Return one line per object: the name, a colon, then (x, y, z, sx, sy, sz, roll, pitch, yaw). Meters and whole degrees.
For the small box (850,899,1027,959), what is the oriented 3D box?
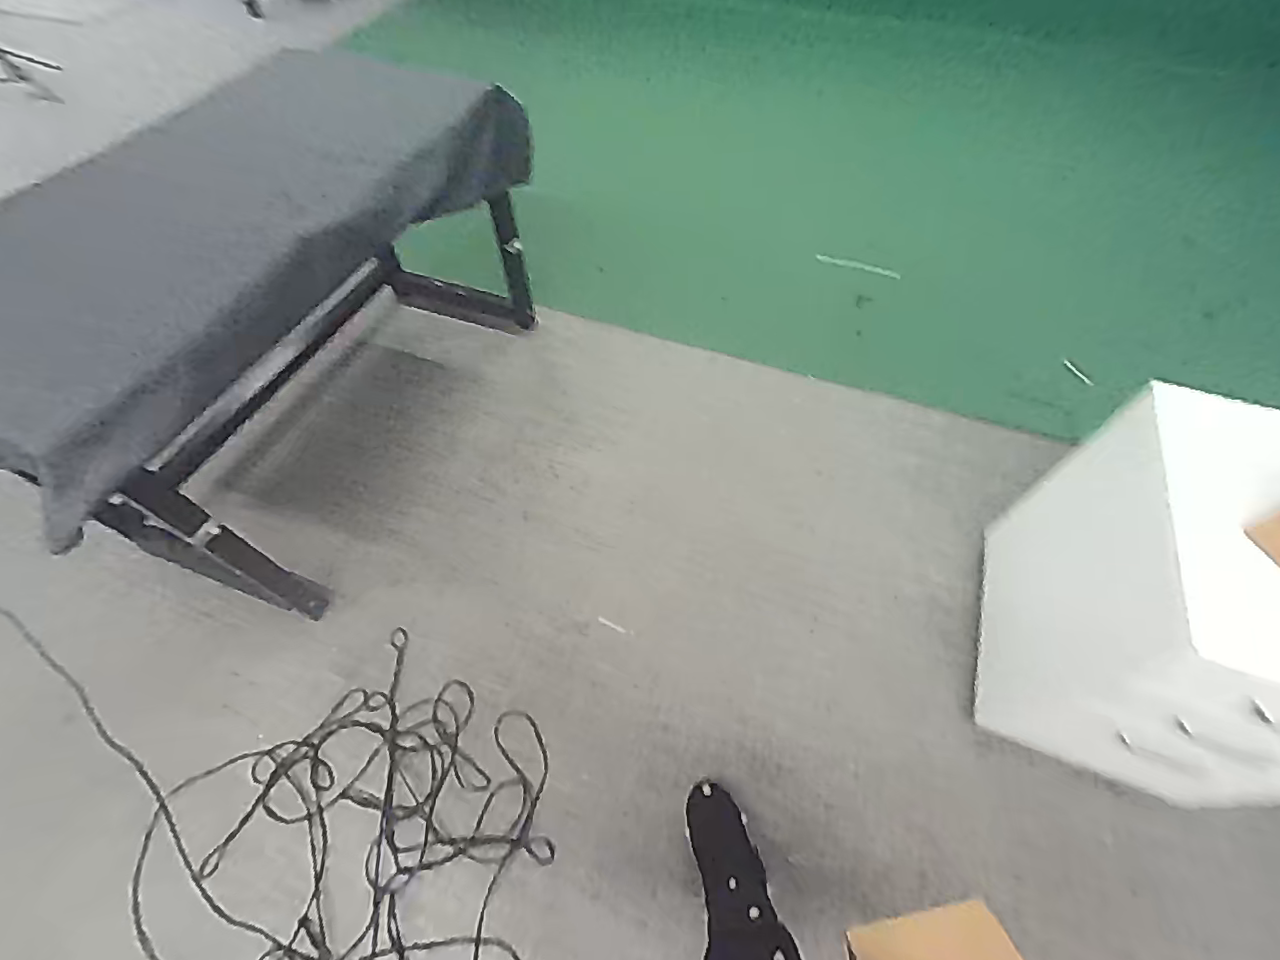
small box: (0.339, 0.596, 0.559, 0.168, 0.176, 0.179, -12, 13, -1)
